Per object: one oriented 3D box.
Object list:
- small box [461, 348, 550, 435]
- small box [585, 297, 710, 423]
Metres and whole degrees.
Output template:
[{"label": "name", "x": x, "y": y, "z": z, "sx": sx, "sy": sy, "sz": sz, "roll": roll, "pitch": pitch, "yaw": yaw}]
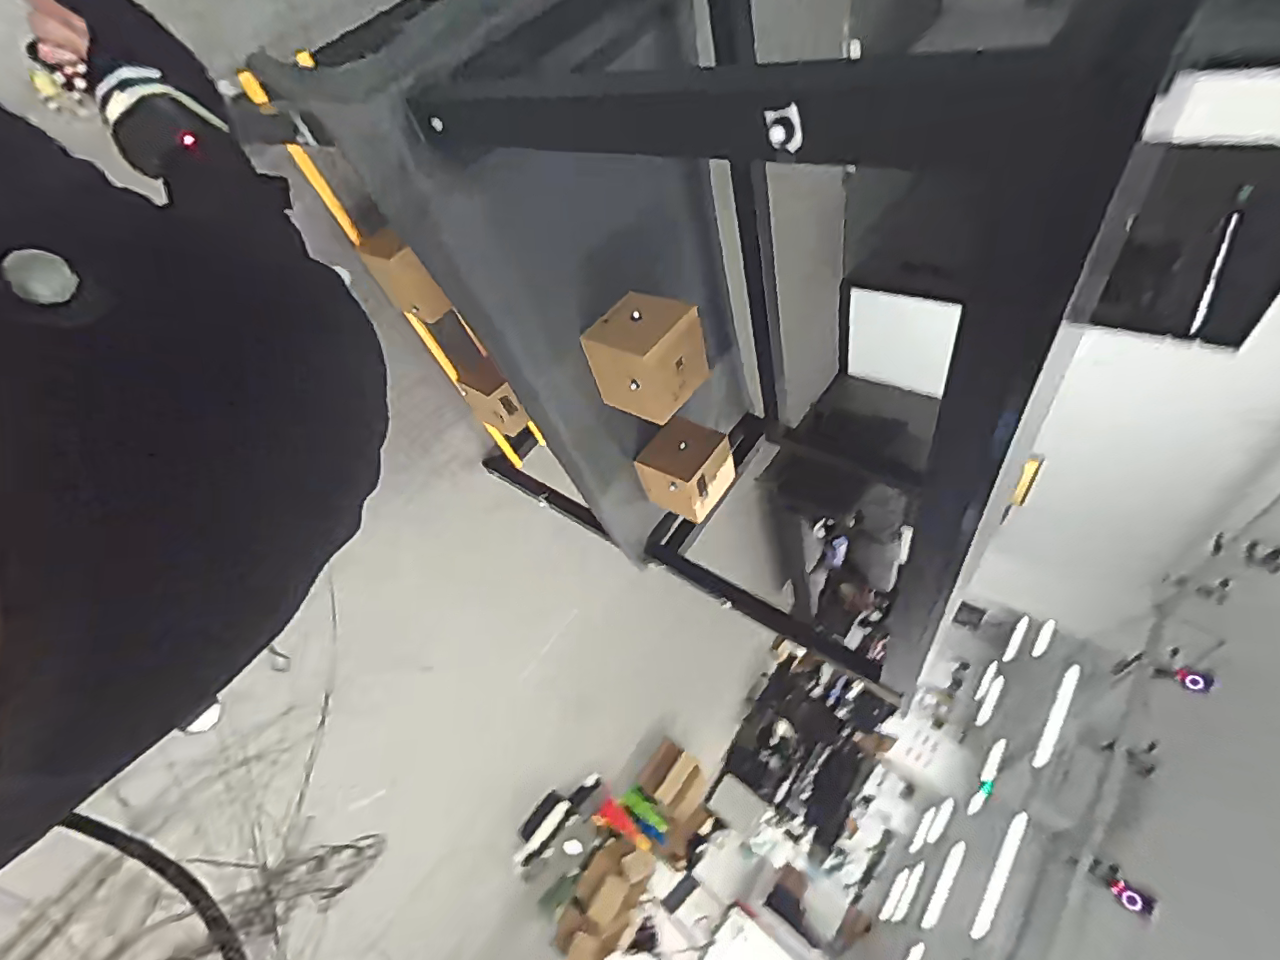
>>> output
[{"label": "small box", "x": -0.408, "y": -0.269, "z": 1.623, "sx": 0.179, "sy": 0.176, "sz": 0.168, "roll": -48, "pitch": 144, "yaw": -23}, {"label": "small box", "x": 0.016, "y": -0.247, "z": 1.083, "sx": 0.168, "sy": 0.176, "sz": 0.179, "roll": -48, "pitch": 143, "yaw": -23}]
